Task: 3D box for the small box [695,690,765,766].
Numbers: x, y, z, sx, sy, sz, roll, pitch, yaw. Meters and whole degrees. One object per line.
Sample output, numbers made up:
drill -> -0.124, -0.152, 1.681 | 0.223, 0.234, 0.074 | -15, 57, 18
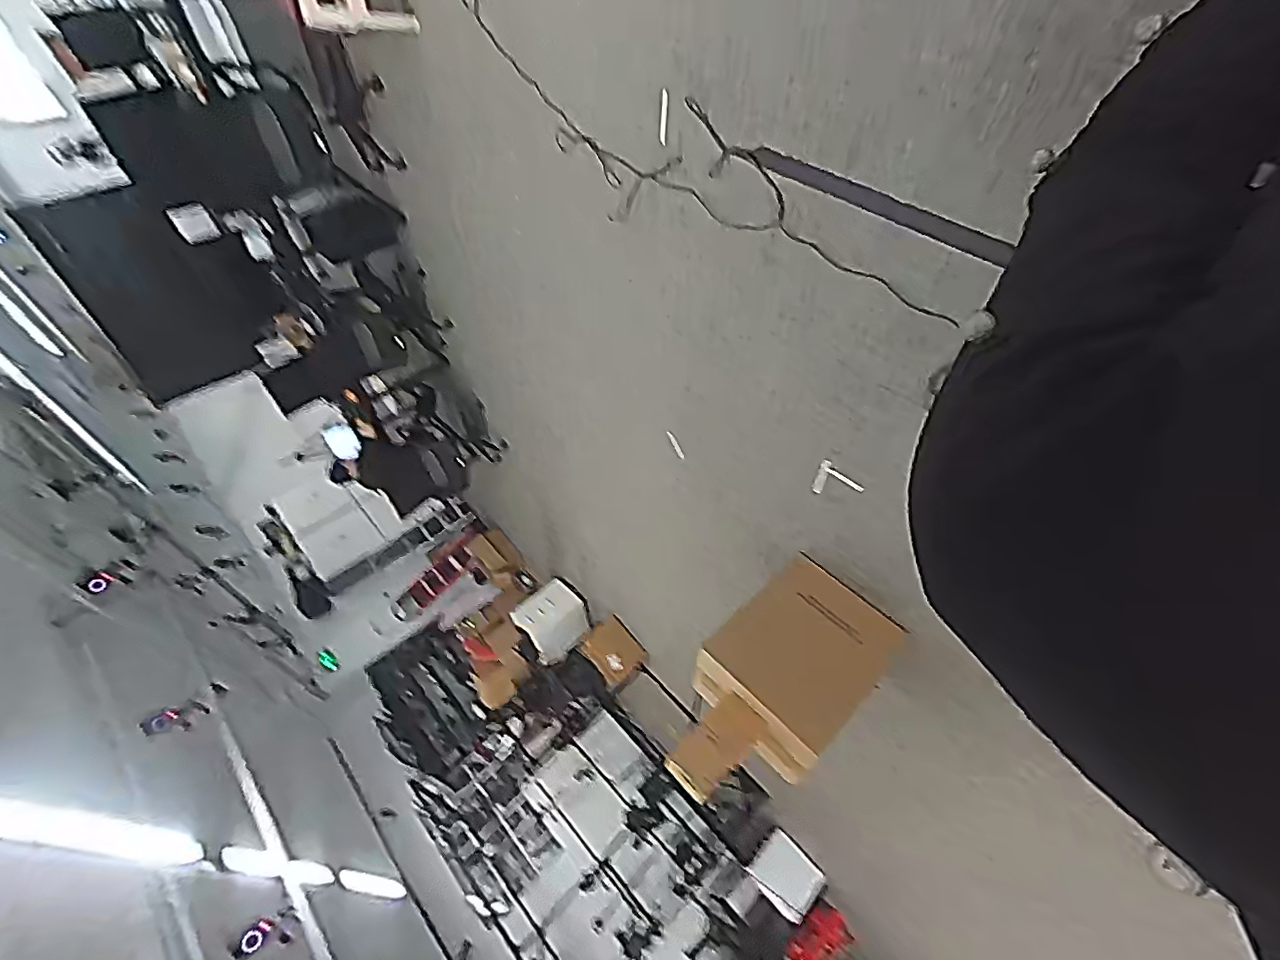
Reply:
small box -> 0.329, 0.903, 1.988 | 0.179, 0.176, 0.168 | 38, 149, 27
